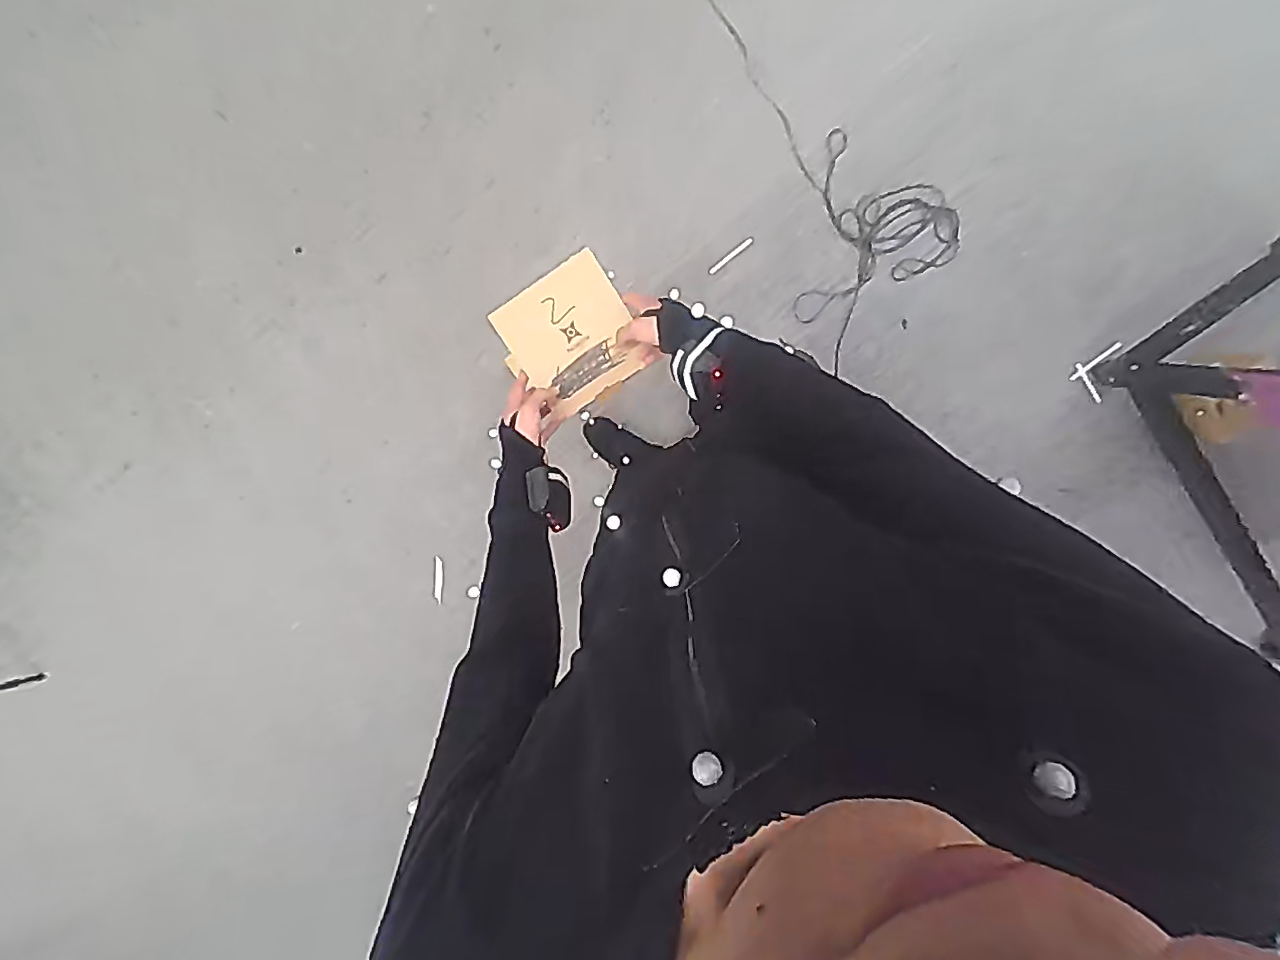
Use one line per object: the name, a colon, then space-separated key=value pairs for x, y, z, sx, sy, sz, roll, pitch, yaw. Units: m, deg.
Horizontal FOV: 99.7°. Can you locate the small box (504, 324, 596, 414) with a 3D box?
small box: x=-0.240 y=-0.305 z=1.480 sx=0.168 sy=0.176 sz=0.179 roll=-33 pitch=102 yaw=10
